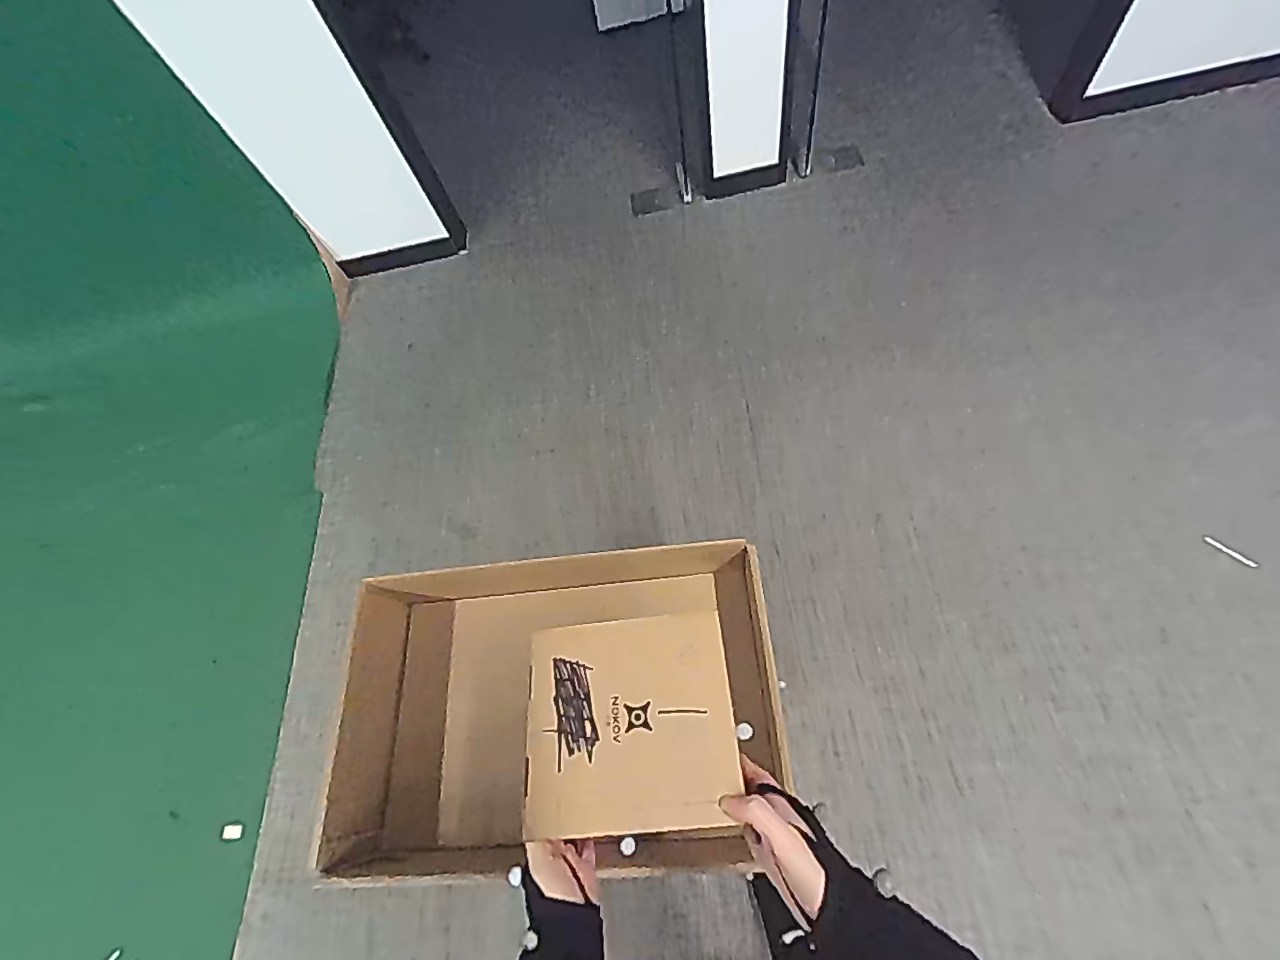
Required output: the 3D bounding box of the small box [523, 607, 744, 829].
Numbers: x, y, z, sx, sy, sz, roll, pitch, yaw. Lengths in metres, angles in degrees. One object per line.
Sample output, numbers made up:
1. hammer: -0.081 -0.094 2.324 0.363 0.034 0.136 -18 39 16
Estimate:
1. small box: 0.002 0.237 0.525 0.179 0.176 0.168 -8 57 6
